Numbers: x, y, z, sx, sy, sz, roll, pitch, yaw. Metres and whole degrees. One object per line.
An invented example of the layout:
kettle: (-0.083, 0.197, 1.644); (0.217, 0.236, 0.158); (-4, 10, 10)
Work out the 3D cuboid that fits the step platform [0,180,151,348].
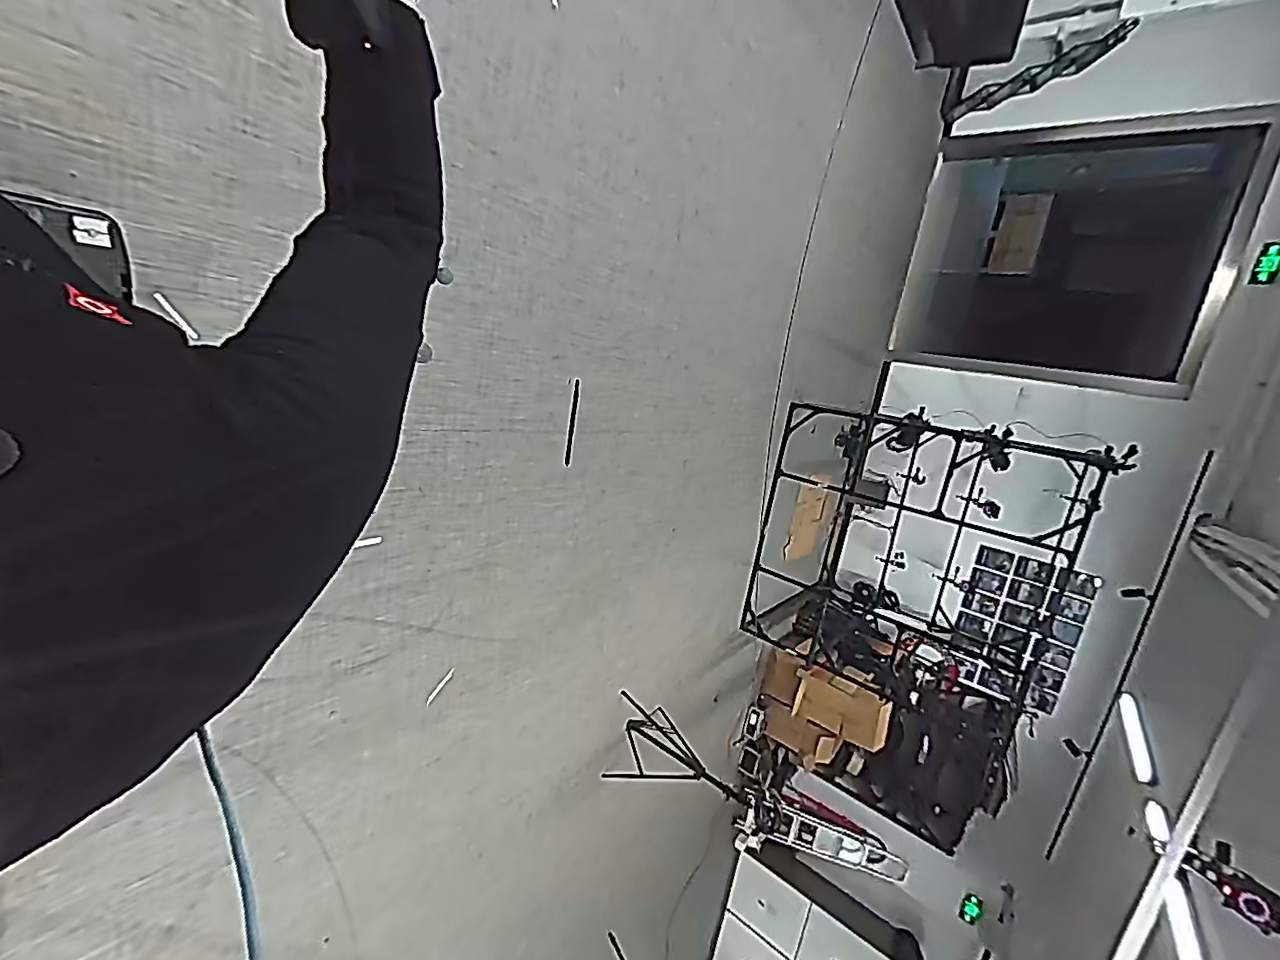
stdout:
step platform: (-1.273, -0.394, 0.897); (0.684, 0.204, 0.286); (-10, 113, -53)
